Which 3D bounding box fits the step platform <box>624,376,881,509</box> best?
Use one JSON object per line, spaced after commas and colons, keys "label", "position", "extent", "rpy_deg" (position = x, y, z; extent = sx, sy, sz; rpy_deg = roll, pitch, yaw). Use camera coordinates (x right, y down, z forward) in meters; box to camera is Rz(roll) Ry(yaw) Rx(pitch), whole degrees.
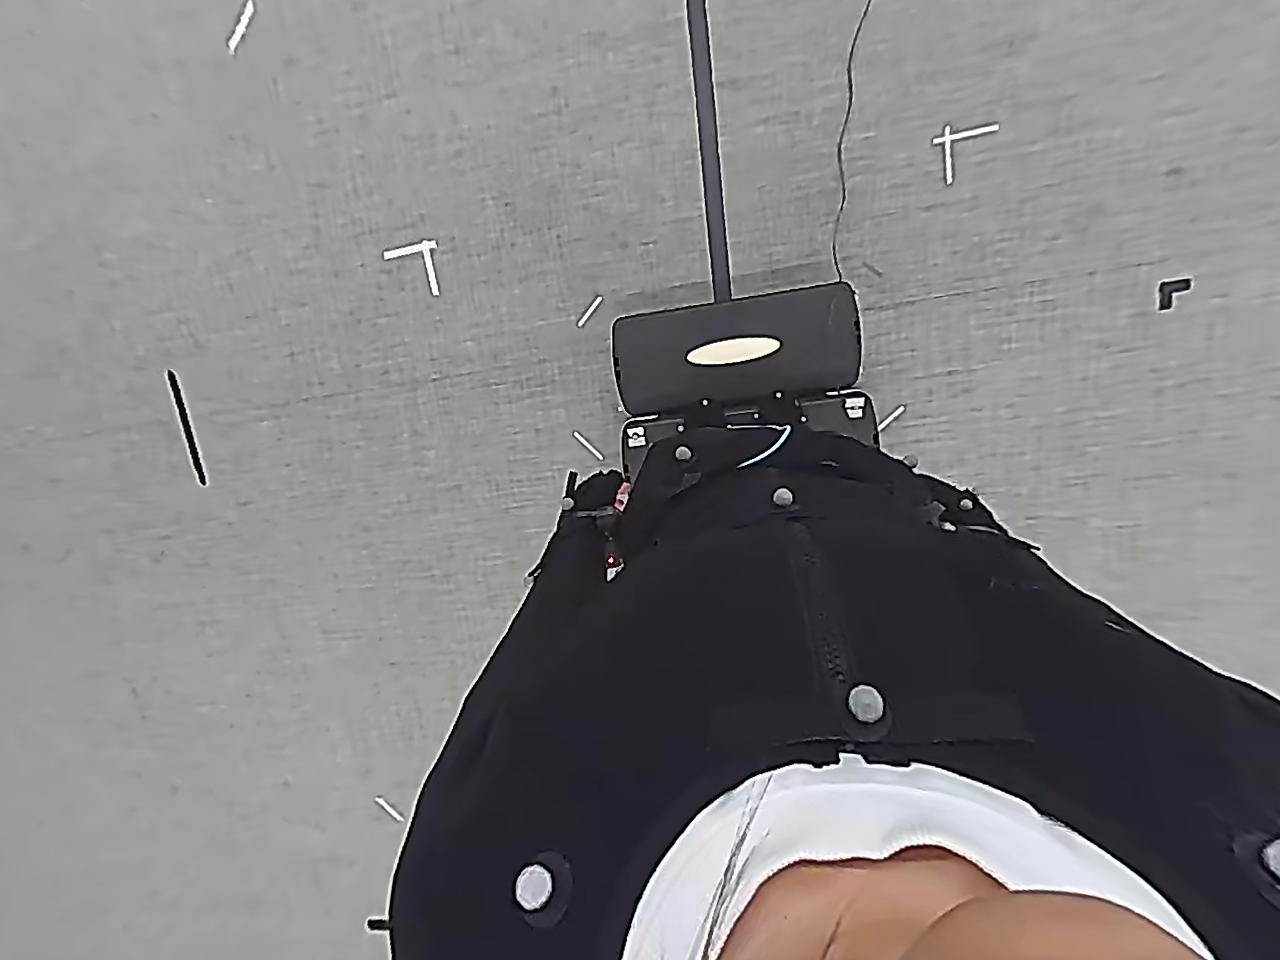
{"label": "step platform", "position": [0.299, -0.100, 1.507], "extent": [0.684, 0.204, 0.286], "rpy_deg": [-7, 98, 10]}
